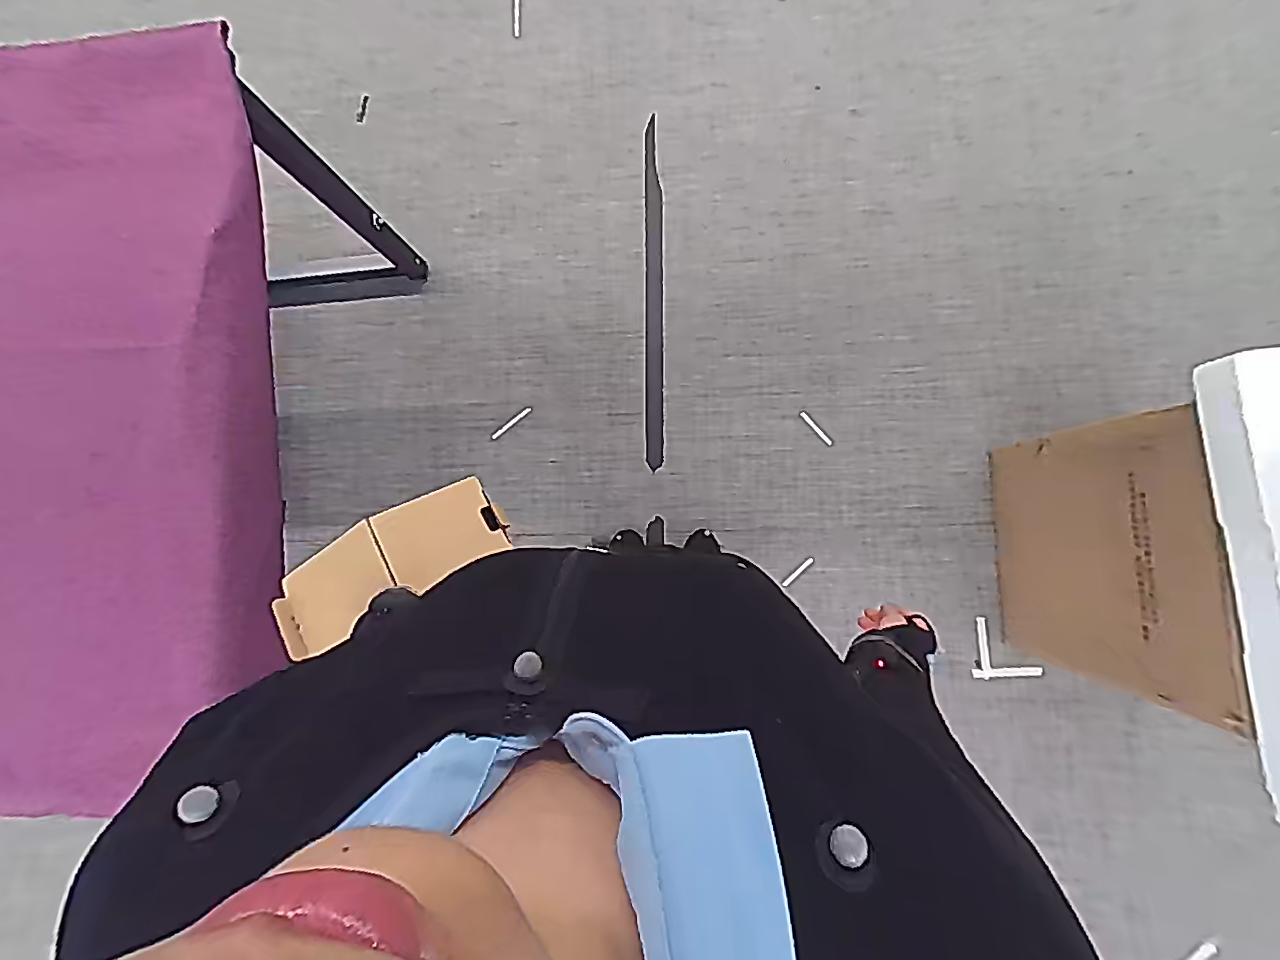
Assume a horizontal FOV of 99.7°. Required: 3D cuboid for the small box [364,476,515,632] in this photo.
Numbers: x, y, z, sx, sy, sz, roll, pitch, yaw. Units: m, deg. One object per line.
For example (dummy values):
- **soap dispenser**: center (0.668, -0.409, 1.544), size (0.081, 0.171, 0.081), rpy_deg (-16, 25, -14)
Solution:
- **small box**: center (-0.315, 0.127, 0.881), size (0.179, 0.176, 0.168), rpy_deg (-24, 72, -24)
